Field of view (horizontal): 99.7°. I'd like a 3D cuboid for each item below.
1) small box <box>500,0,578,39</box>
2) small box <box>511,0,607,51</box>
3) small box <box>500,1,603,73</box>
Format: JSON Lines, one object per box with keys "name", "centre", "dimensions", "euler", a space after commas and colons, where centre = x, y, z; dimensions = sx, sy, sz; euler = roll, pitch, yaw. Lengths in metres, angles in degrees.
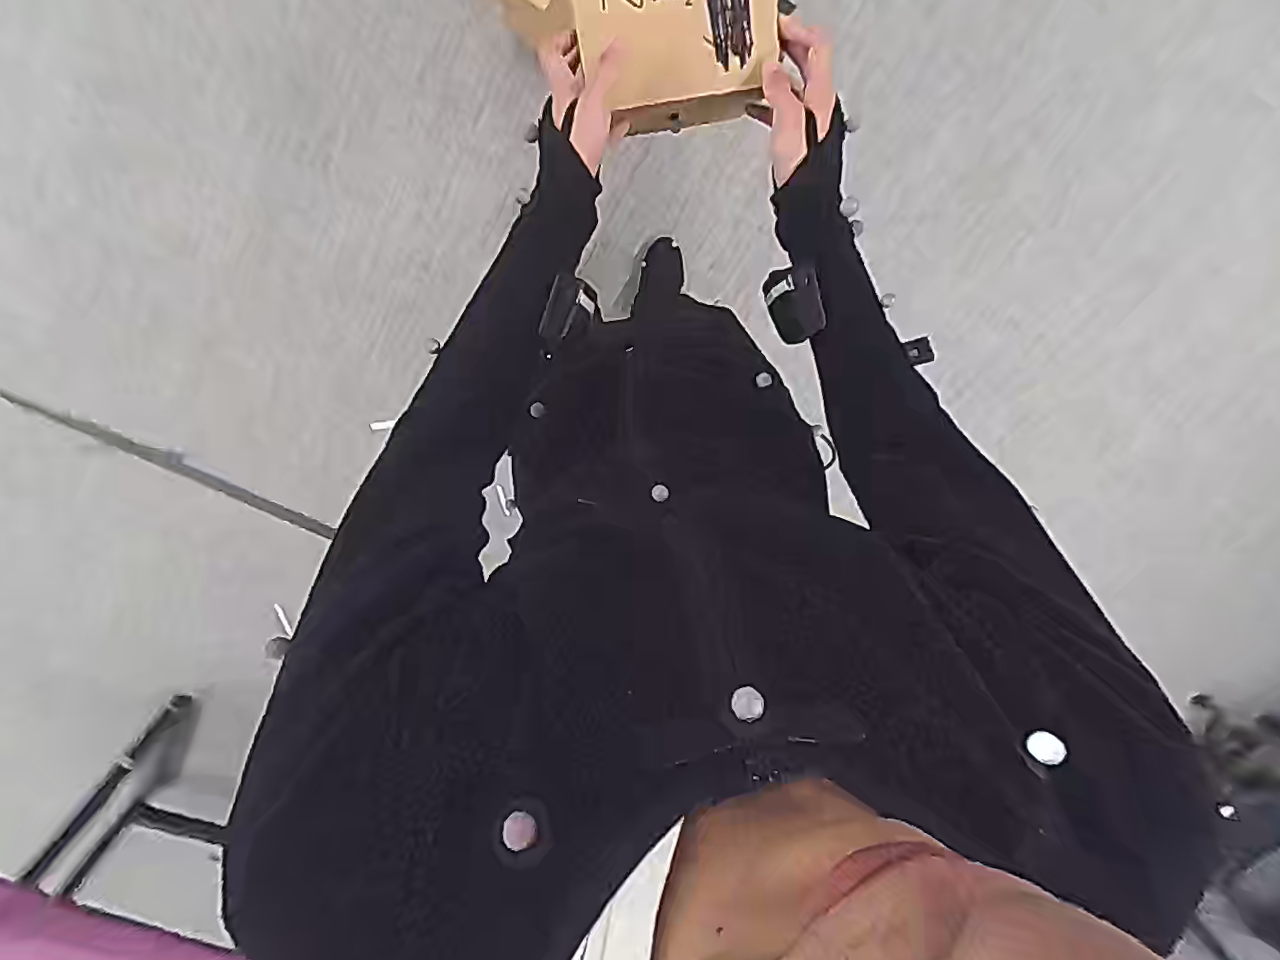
{"name": "small box", "centre": [-0.166, -0.847, 0.839], "dimensions": [0.168, 0.176, 0.179], "euler": [28, 111, -15]}
{"name": "small box", "centre": [-0.149, -0.930, 0.983], "dimensions": [0.179, 0.176, 0.168], "euler": [24, 112, -14]}
{"name": "small box", "centre": [-0.172, -1.004, 1.128], "dimensions": [0.168, 0.176, 0.179], "euler": [25, 112, -15]}
